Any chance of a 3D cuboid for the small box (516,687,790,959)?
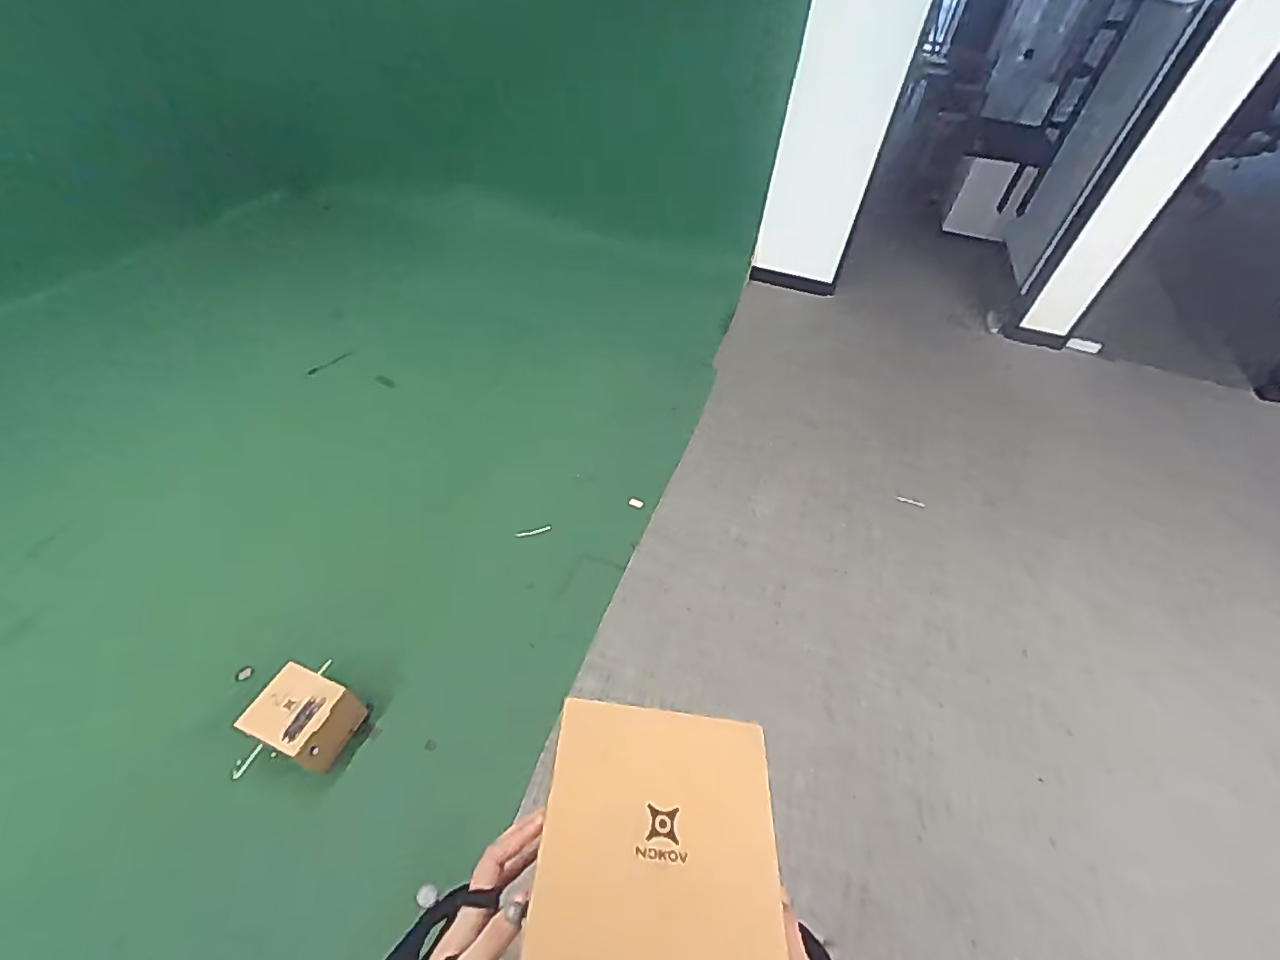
[{"bbox_3d":[0.001,0.295,0.424,0.168,0.176,0.179,10,40,-4],"label":"small box"}]
